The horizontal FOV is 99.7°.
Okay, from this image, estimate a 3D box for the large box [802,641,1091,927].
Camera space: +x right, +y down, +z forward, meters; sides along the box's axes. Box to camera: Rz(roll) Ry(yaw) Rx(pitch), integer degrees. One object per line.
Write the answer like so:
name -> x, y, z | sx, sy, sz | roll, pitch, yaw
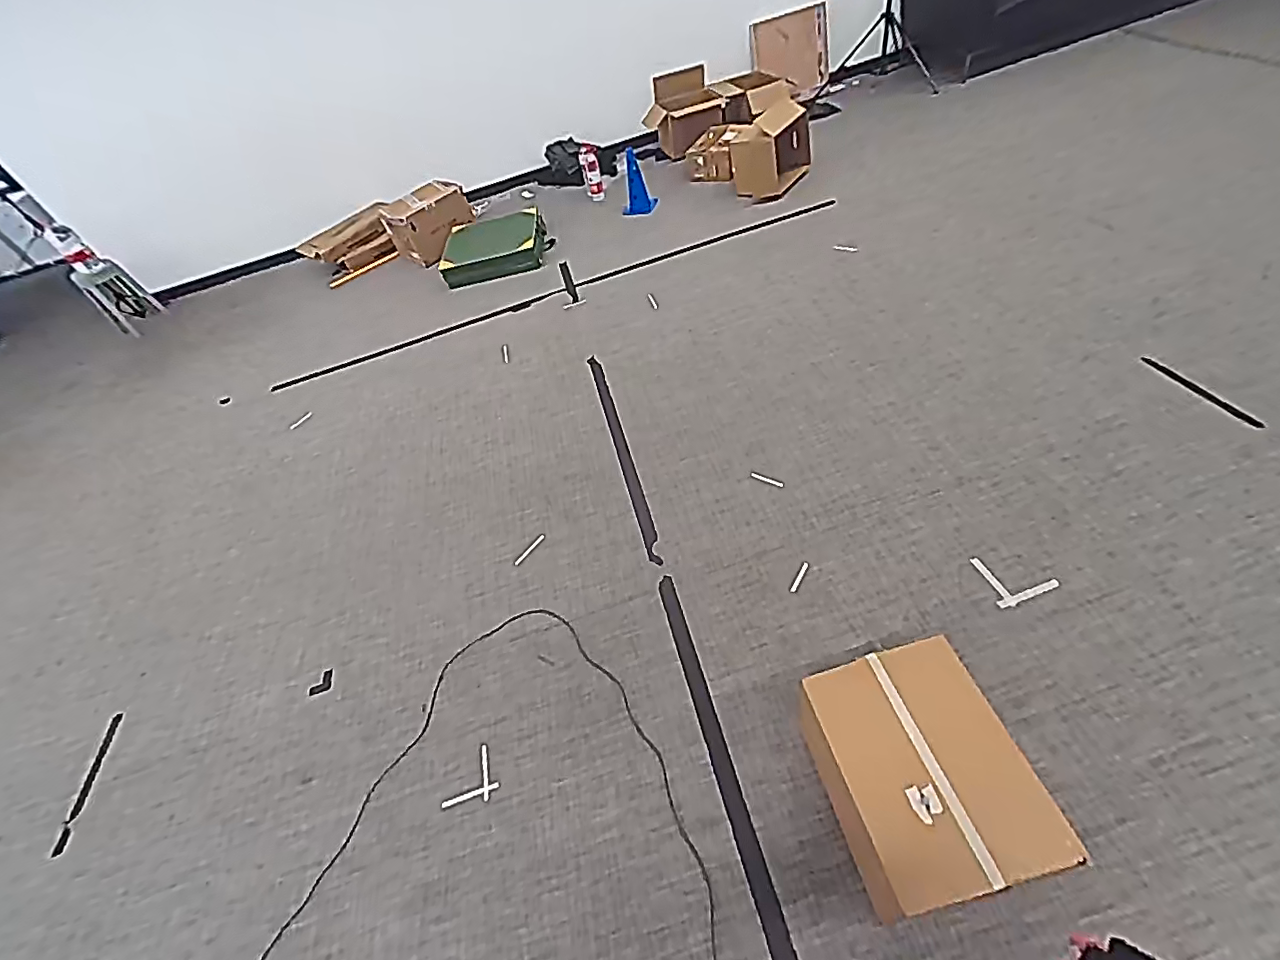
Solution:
large box -> 0.561, 0.613, 1.103 | 0.320, 0.320, 0.408 | -19, 48, 0
